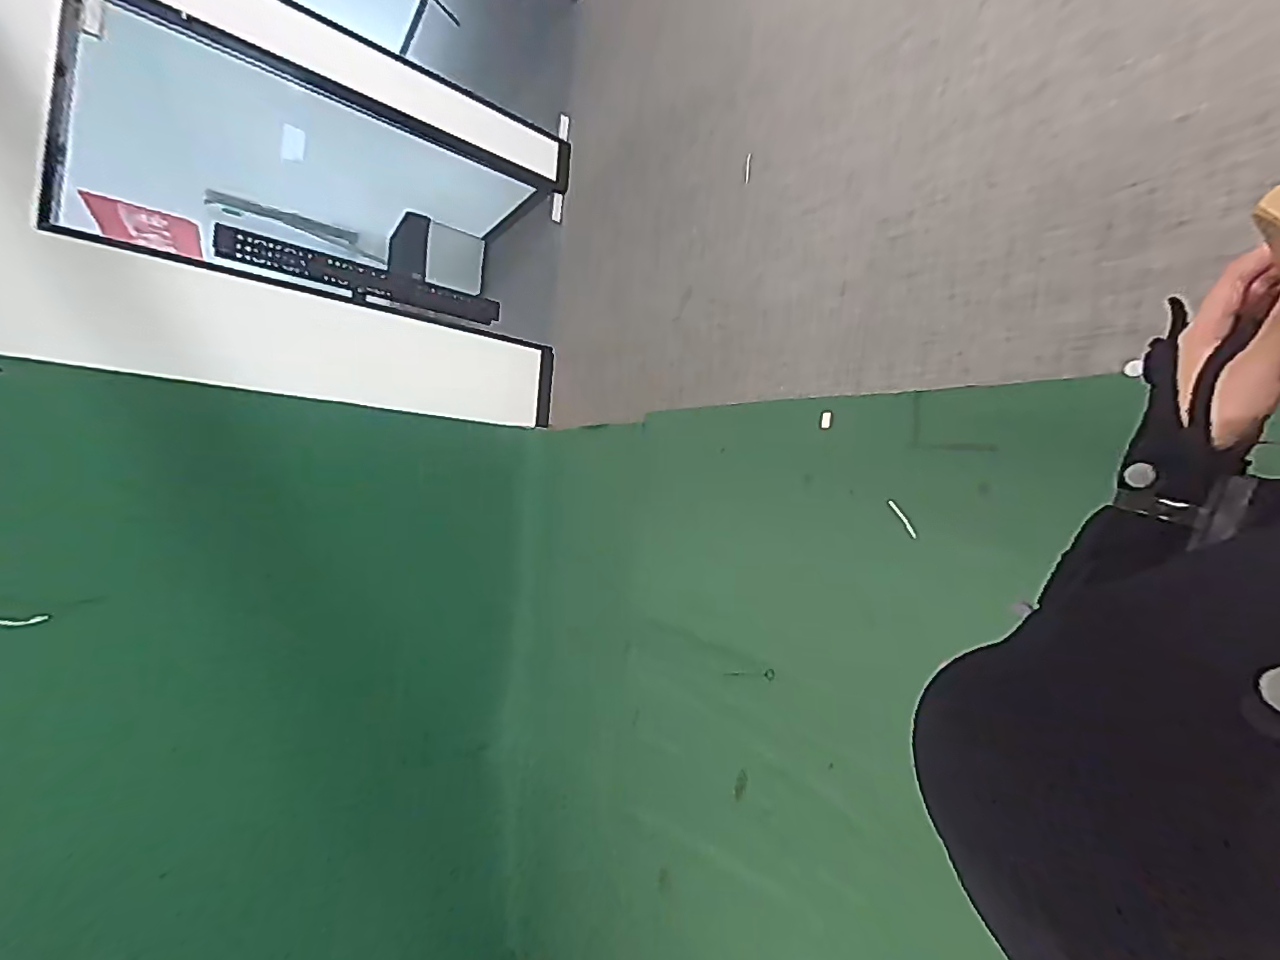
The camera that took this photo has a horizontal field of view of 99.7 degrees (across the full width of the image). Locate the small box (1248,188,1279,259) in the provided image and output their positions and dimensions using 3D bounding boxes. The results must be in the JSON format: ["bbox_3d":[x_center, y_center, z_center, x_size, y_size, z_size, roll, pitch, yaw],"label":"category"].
[{"bbox_3d":[0.440,-0.112,0.221,0.179,0.176,0.168,-50,42,39],"label":"small box"}]
